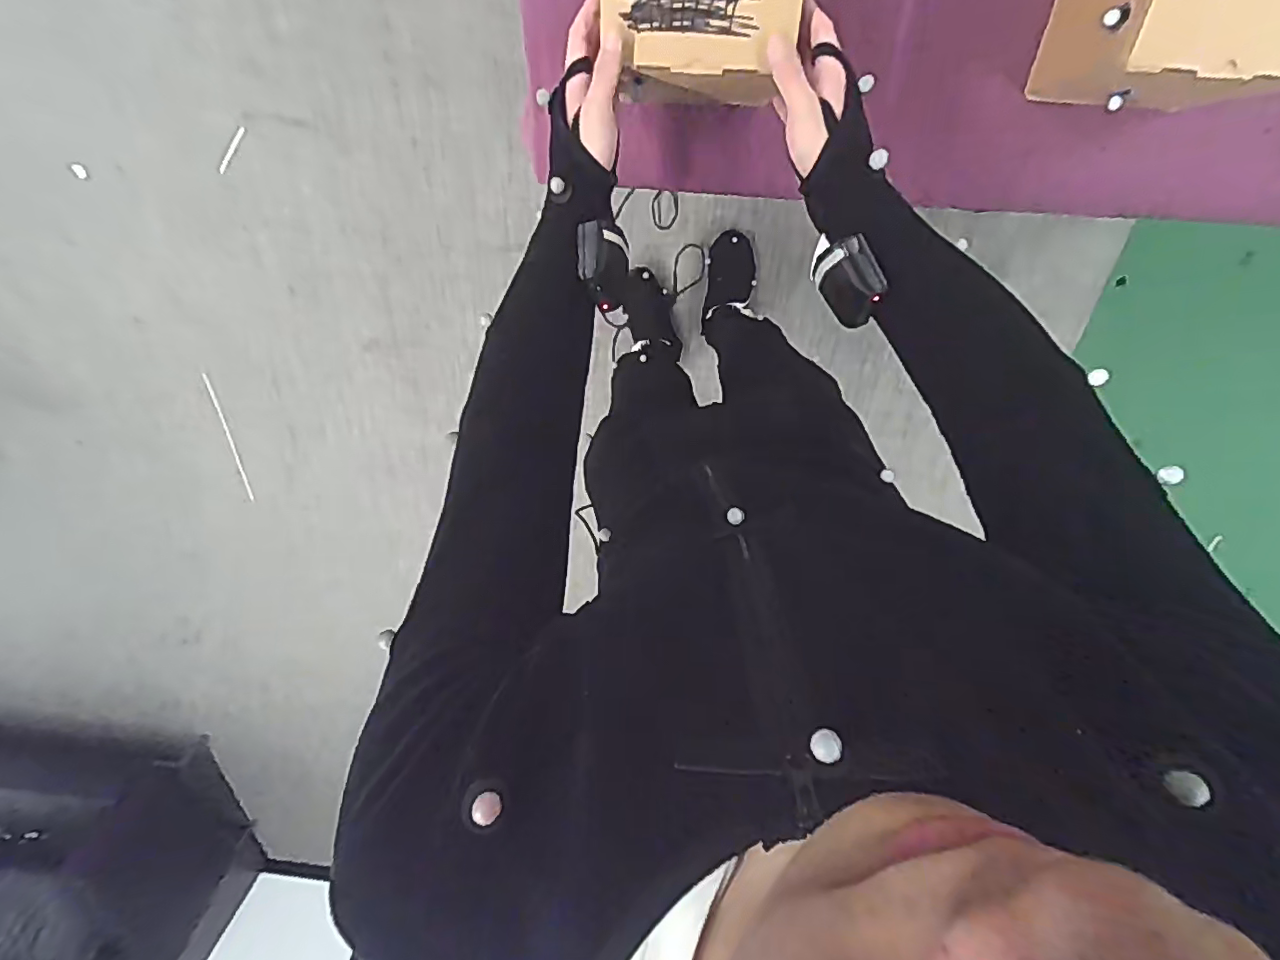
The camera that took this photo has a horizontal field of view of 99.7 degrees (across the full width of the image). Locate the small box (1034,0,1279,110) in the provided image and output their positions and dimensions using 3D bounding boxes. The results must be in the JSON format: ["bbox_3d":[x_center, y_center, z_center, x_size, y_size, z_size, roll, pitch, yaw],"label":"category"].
[{"bbox_3d":[0.502,-0.451,0.482,0.168,0.176,0.179,6,120,3],"label":"small box"}]
